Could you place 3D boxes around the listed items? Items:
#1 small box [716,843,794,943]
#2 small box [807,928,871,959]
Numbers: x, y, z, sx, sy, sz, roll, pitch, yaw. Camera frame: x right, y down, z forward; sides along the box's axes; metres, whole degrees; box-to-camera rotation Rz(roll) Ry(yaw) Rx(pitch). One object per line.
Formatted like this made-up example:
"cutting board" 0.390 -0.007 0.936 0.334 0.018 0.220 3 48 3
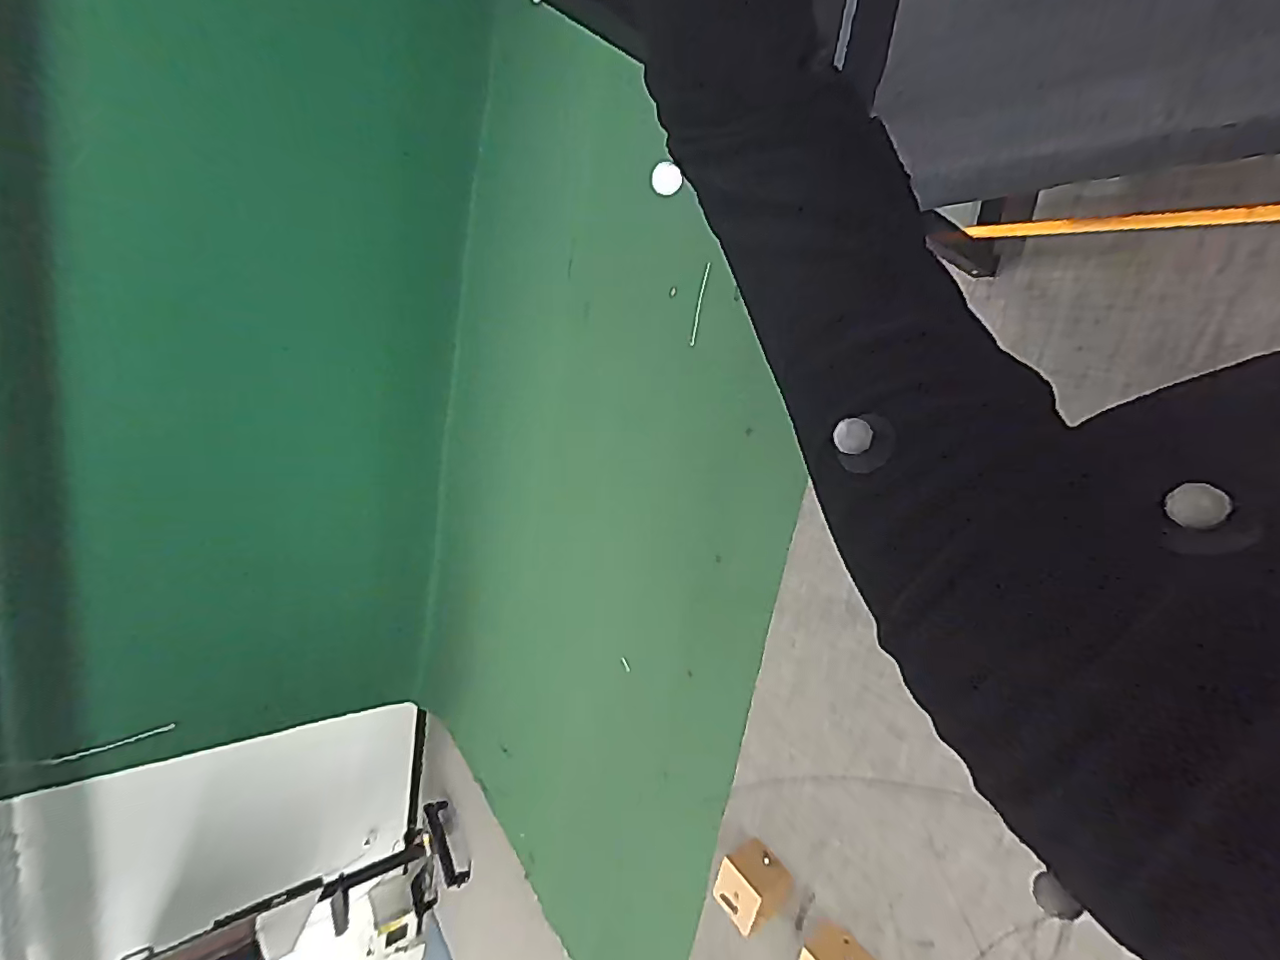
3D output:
"small box" 0.387 1.372 1.807 0.168 0.176 0.179 29 111 47
"small box" 0.583 1.468 1.565 0.168 0.176 0.179 24 109 49
